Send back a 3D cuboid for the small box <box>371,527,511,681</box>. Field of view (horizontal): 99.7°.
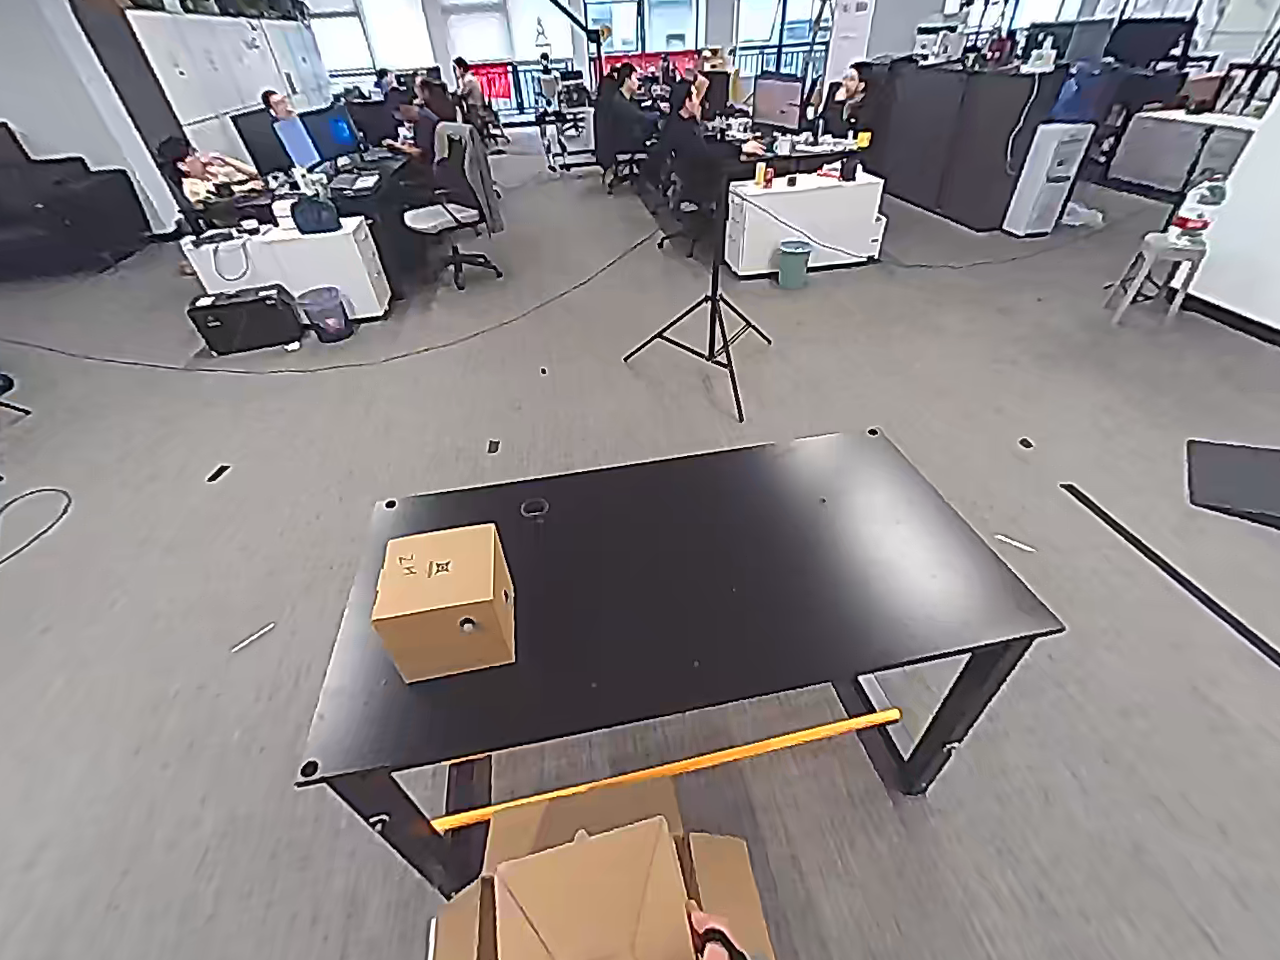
[{"bbox_3d":[-0.311,0.204,0.890,0.179,0.176,0.168,-9,39,-7],"label":"small box"}]

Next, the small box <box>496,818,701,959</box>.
[{"bbox_3d":[-0.029,0.454,0.511,0.168,0.176,0.179,-14,48,-5],"label":"small box"}]
